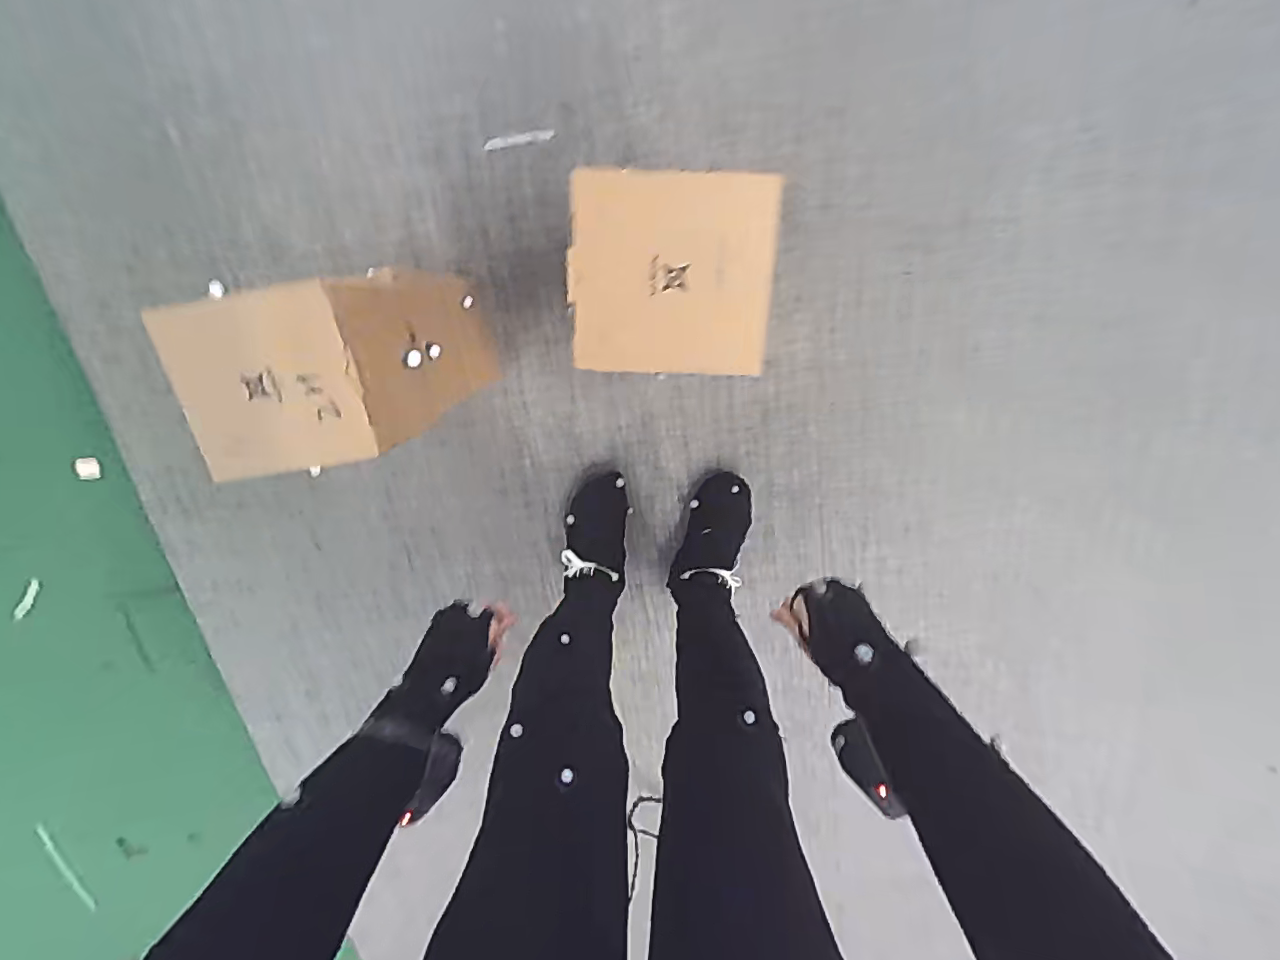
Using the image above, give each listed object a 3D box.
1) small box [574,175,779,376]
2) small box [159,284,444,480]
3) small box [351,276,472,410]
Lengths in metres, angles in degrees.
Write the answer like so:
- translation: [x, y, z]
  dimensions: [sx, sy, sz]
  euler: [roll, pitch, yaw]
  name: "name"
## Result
- translation: [0.030, -0.202, 0.558]
  dimensions: [0.179, 0.176, 0.168]
  euler: [2, 109, 0]
  name: "small box"
- translation: [-0.342, -0.111, 0.587]
  dimensions: [0.179, 0.176, 0.168]
  euler: [-9, 107, 3]
  name: "small box"
- translation: [-0.349, -0.171, 0.741]
  dimensions: [0.168, 0.176, 0.179]
  euler: [-10, 106, 3]
  name: "small box"
